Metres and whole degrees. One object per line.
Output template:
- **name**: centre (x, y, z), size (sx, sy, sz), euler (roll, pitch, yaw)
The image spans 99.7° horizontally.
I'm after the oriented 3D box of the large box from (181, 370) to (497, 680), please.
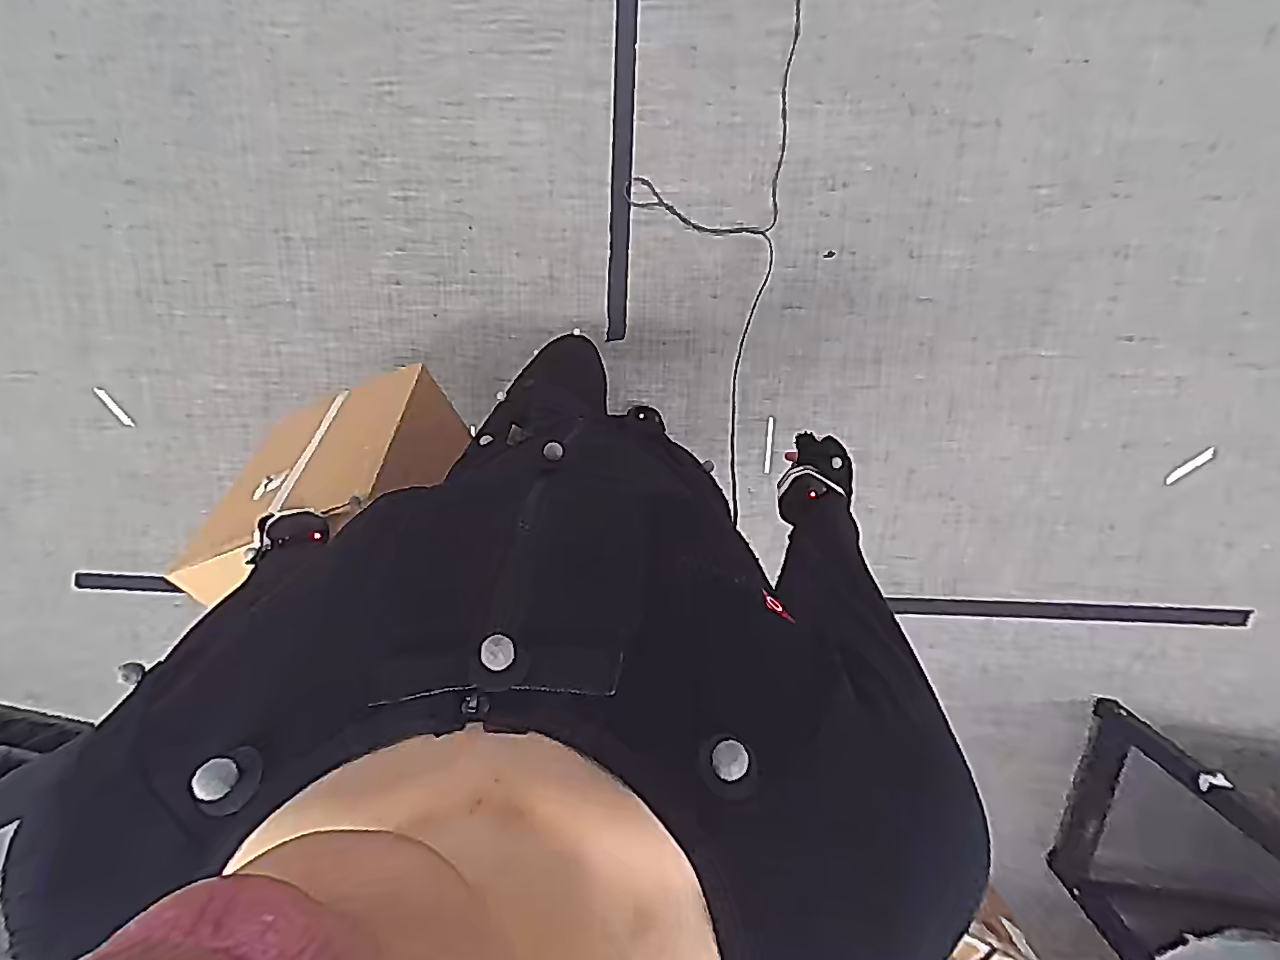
- **large box**: centre (-0.472, 0.069, 0.971), size (0.320, 0.408, 0.320), euler (-21, 129, 6)
